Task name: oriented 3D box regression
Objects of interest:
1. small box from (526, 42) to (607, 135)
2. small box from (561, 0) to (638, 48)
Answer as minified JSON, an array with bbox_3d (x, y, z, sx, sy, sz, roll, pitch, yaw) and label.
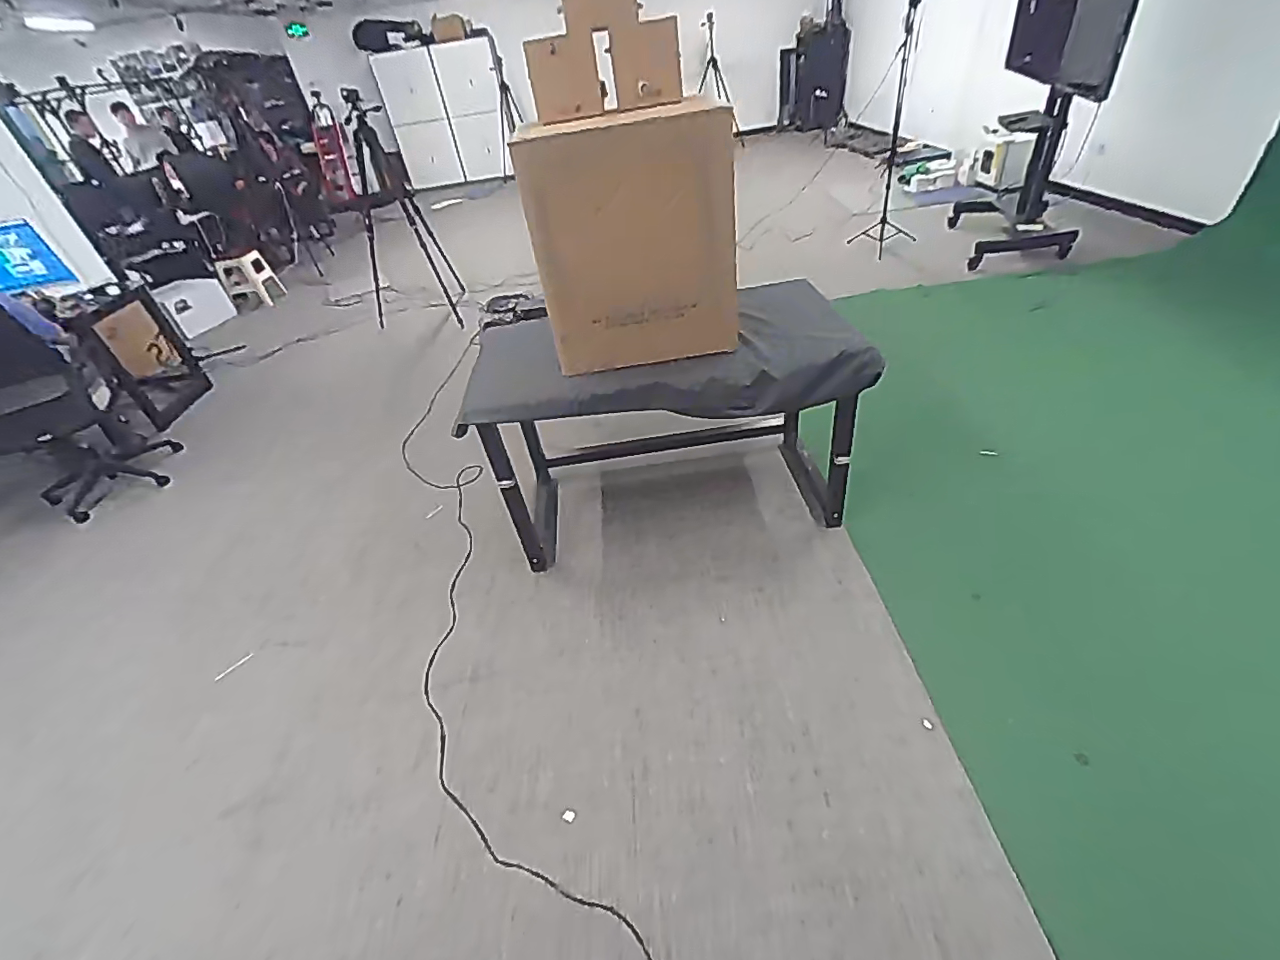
[{"bbox_3d":[-0.182,-0.997,1.386,0.168,0.176,0.179,-9,36,3],"label":"small box"},{"bbox_3d":[-0.099,-1.149,1.297,0.179,0.176,0.168,-9,36,1],"label":"small box"}]
